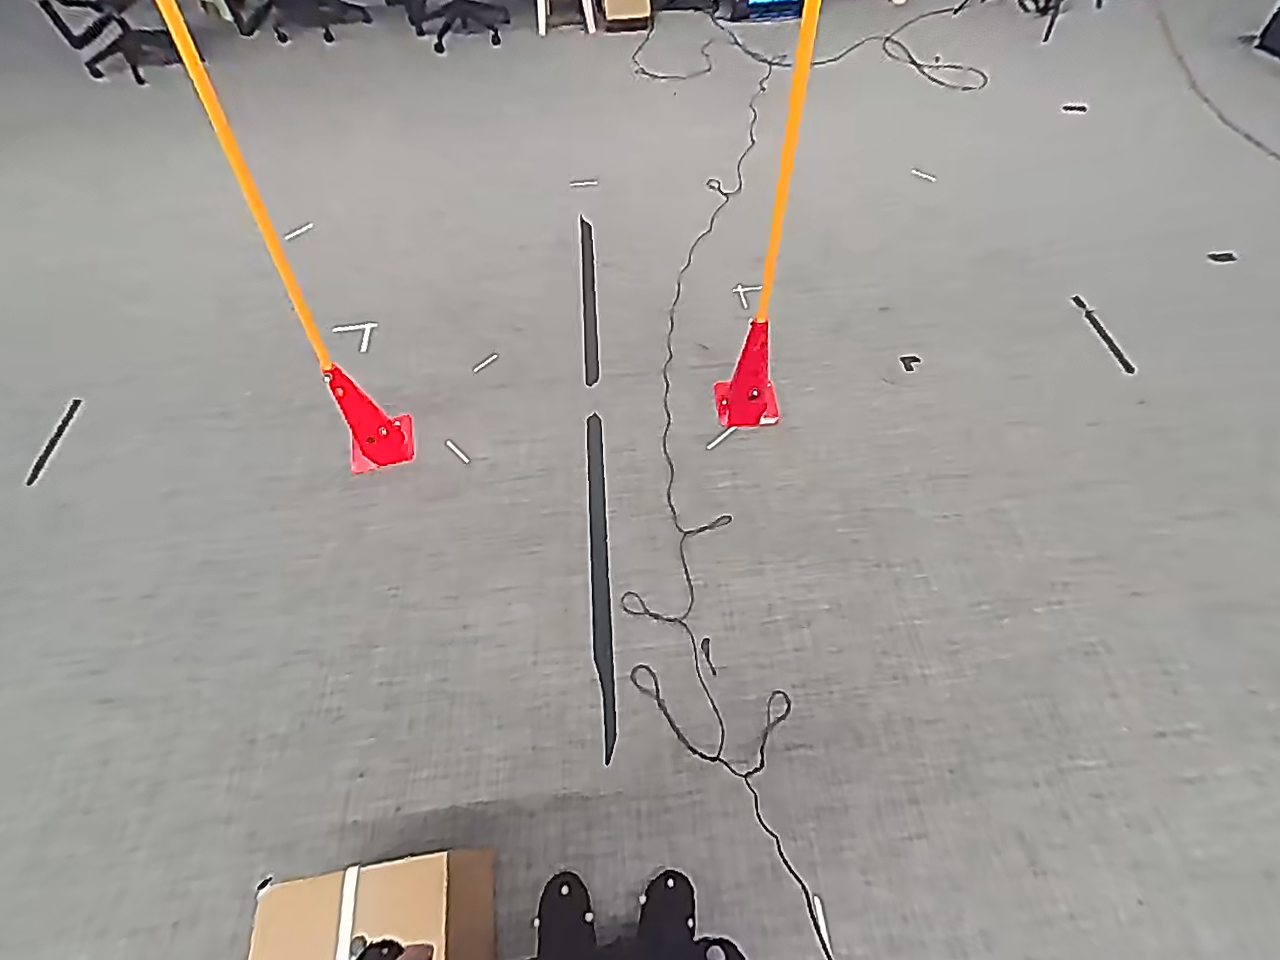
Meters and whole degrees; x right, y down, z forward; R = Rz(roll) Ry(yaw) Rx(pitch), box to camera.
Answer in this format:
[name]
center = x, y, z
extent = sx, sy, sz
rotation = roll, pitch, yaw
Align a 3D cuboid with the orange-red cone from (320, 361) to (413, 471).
[orange-red cone]
center = -0.852, -0.216, 1.626
extent = 0.199, 0.360, 0.198
rotation = -13, 57, -5
